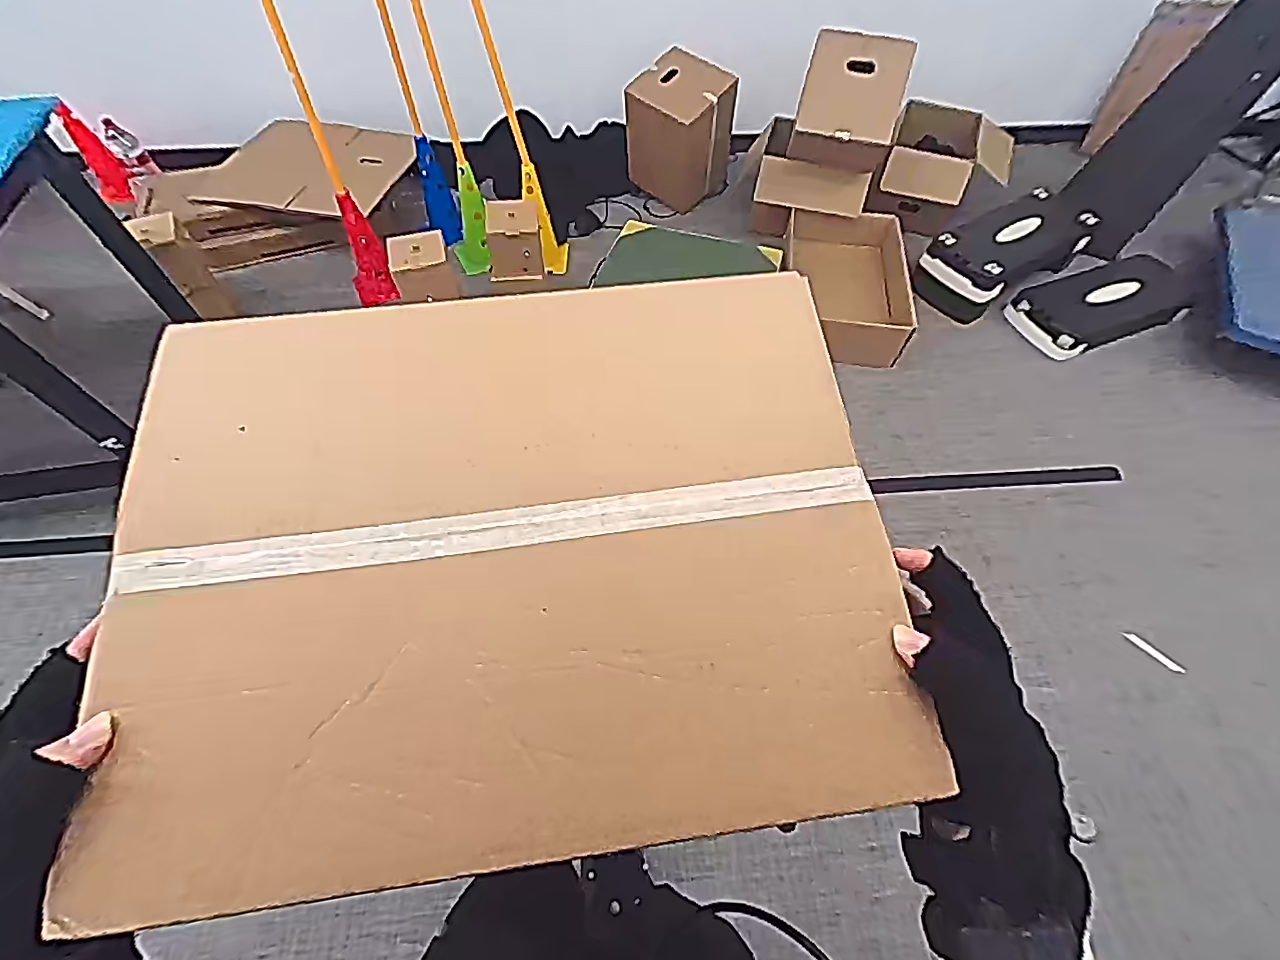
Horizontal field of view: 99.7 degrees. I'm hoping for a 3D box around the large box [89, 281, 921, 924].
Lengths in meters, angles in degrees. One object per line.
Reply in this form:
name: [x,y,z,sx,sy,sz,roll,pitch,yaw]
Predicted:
large box: [-0.076,0.081,0.445,0.408,0.320,0.320,-7,69,-4]
